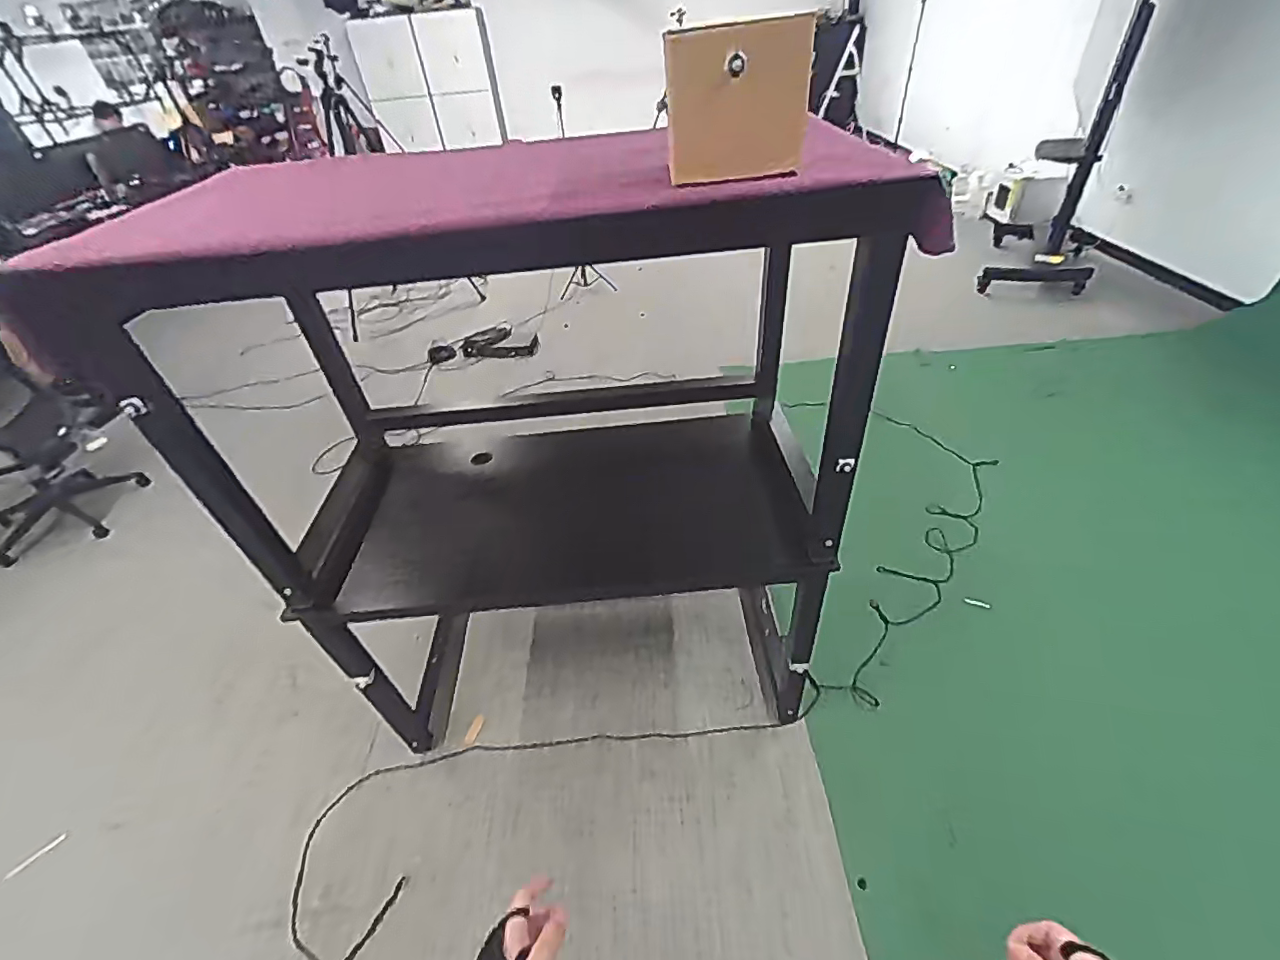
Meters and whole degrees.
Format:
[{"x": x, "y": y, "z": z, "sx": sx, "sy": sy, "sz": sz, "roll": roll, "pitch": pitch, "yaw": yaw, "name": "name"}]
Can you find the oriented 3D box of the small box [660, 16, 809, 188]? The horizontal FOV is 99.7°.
[{"x": 0.122, "y": -0.514, "z": 0.743, "sx": 0.179, "sy": 0.176, "sz": 0.168, "roll": -4, "pitch": 40, "yaw": 5, "name": "small box"}]
